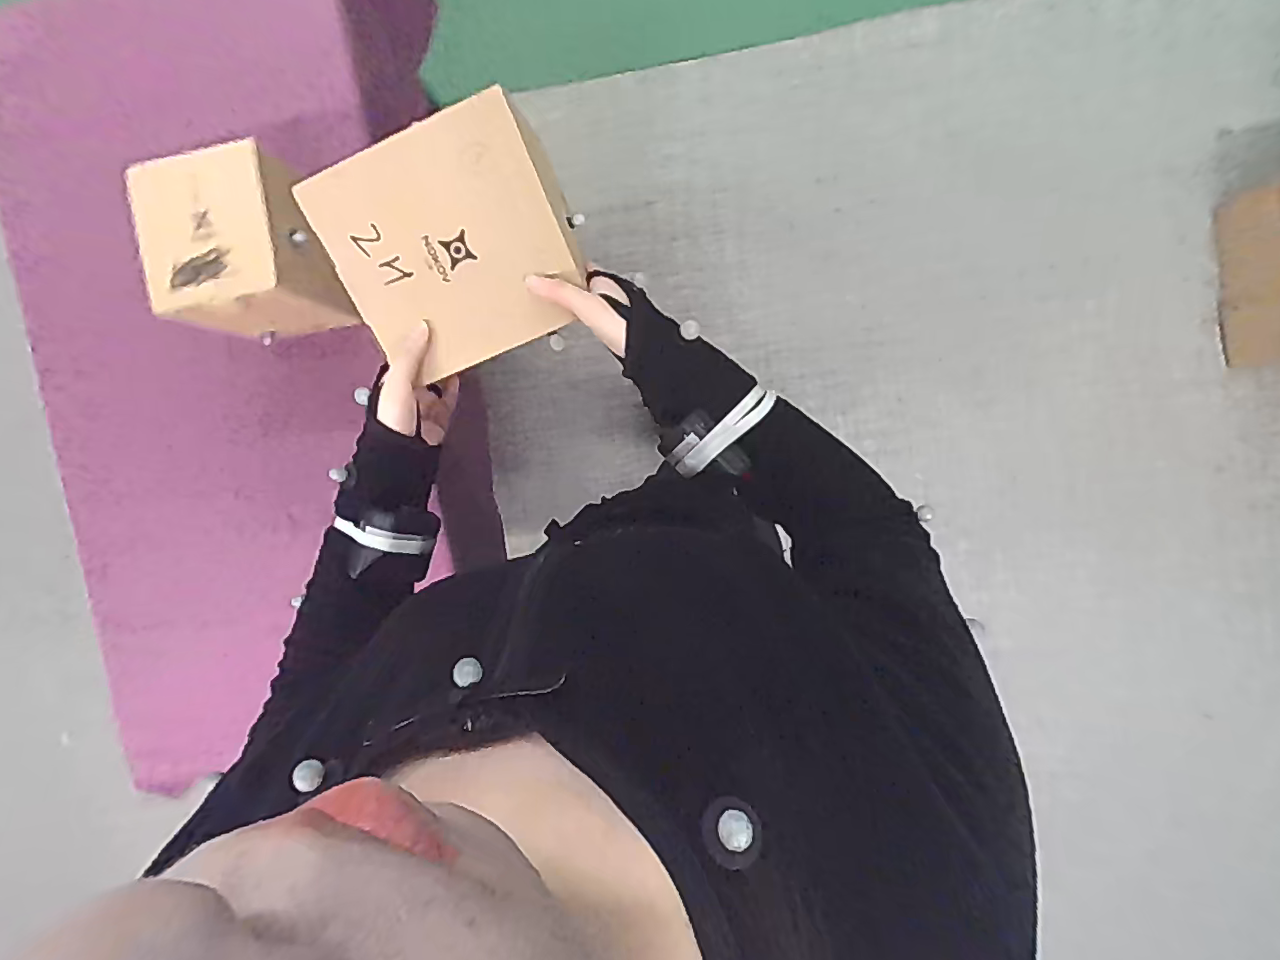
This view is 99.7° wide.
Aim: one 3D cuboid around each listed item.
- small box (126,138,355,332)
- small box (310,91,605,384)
[{"bbox_3d":[-0.507,-0.303,0.713,0.168,0.176,0.179,-8,92,6],"label":"small box"},{"bbox_3d":[-0.137,-0.206,0.489,0.179,0.176,0.168,-18,109,8],"label":"small box"}]
